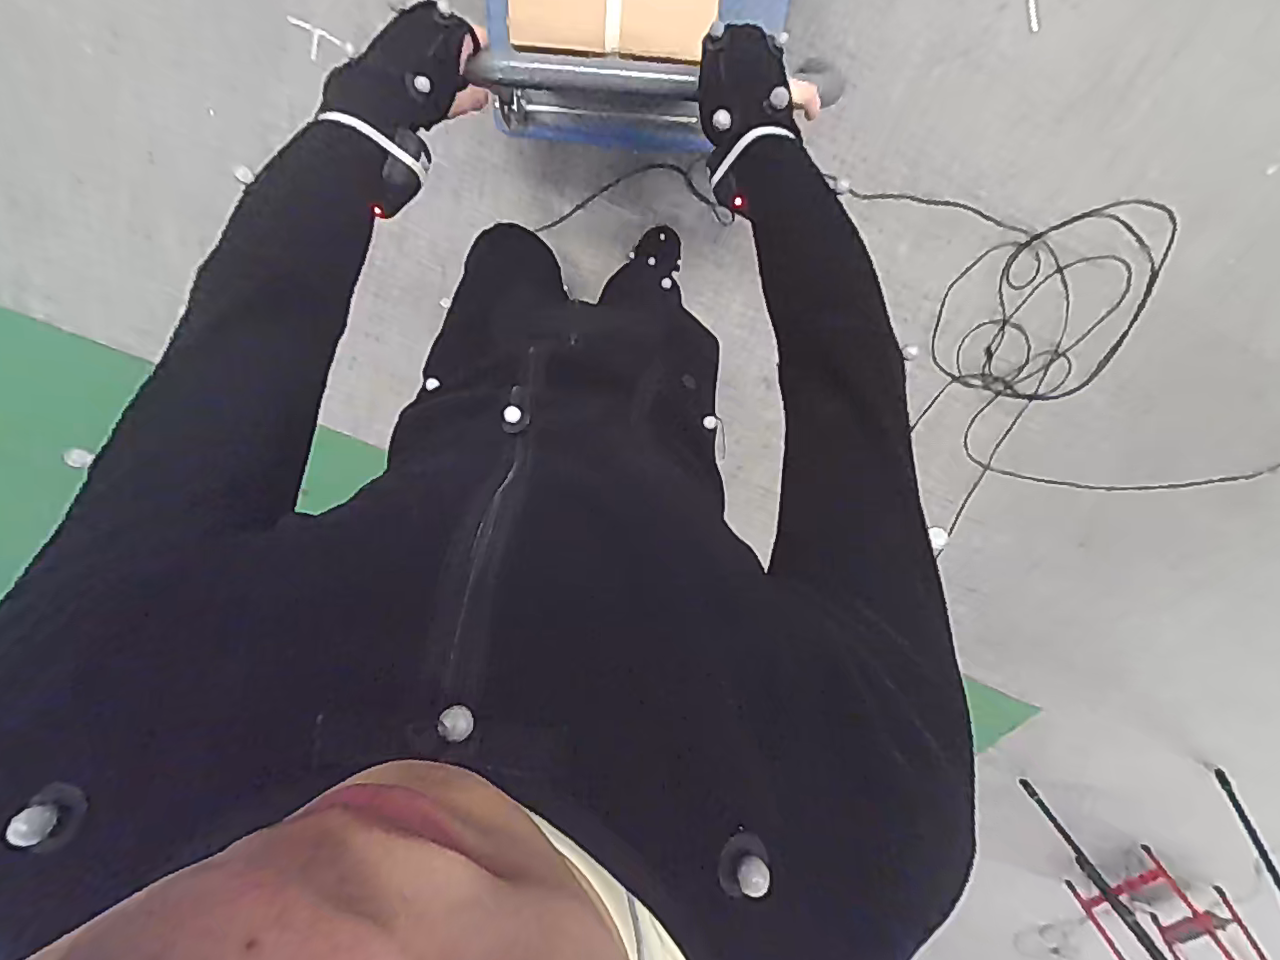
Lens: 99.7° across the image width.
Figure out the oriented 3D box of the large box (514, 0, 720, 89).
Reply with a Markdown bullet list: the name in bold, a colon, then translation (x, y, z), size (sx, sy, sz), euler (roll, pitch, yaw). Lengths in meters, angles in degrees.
- **large box**: translation (-0.021, -0.912, 0.880), size (0.320, 0.320, 0.408), euler (5, 117, -1)
